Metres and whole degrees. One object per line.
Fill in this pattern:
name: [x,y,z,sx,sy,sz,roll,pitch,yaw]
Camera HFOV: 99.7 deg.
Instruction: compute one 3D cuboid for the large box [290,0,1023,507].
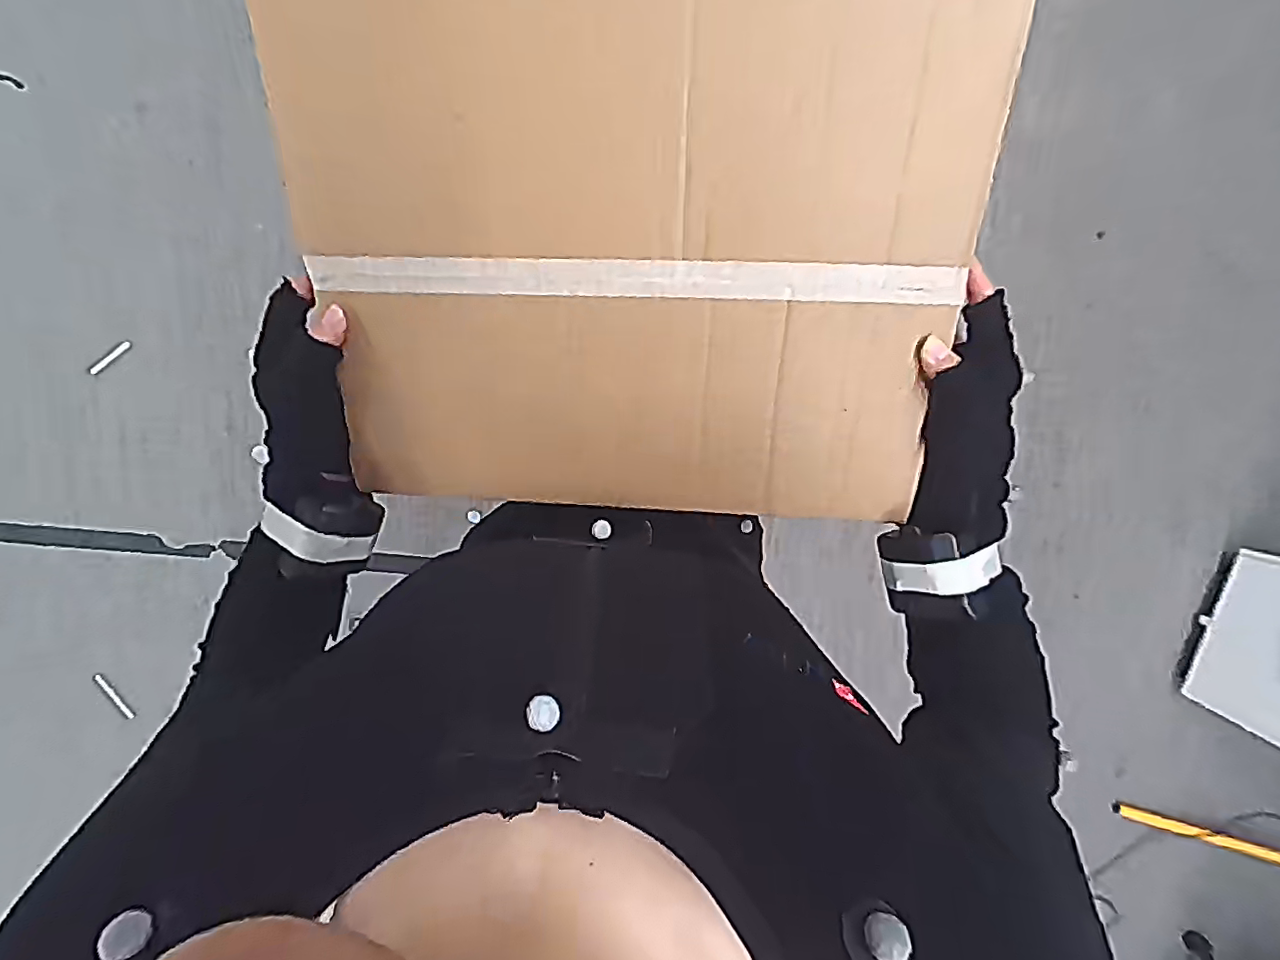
large box: [0.009,-0.186,0.483,0.408,0.320,0.320,3,115,4]
